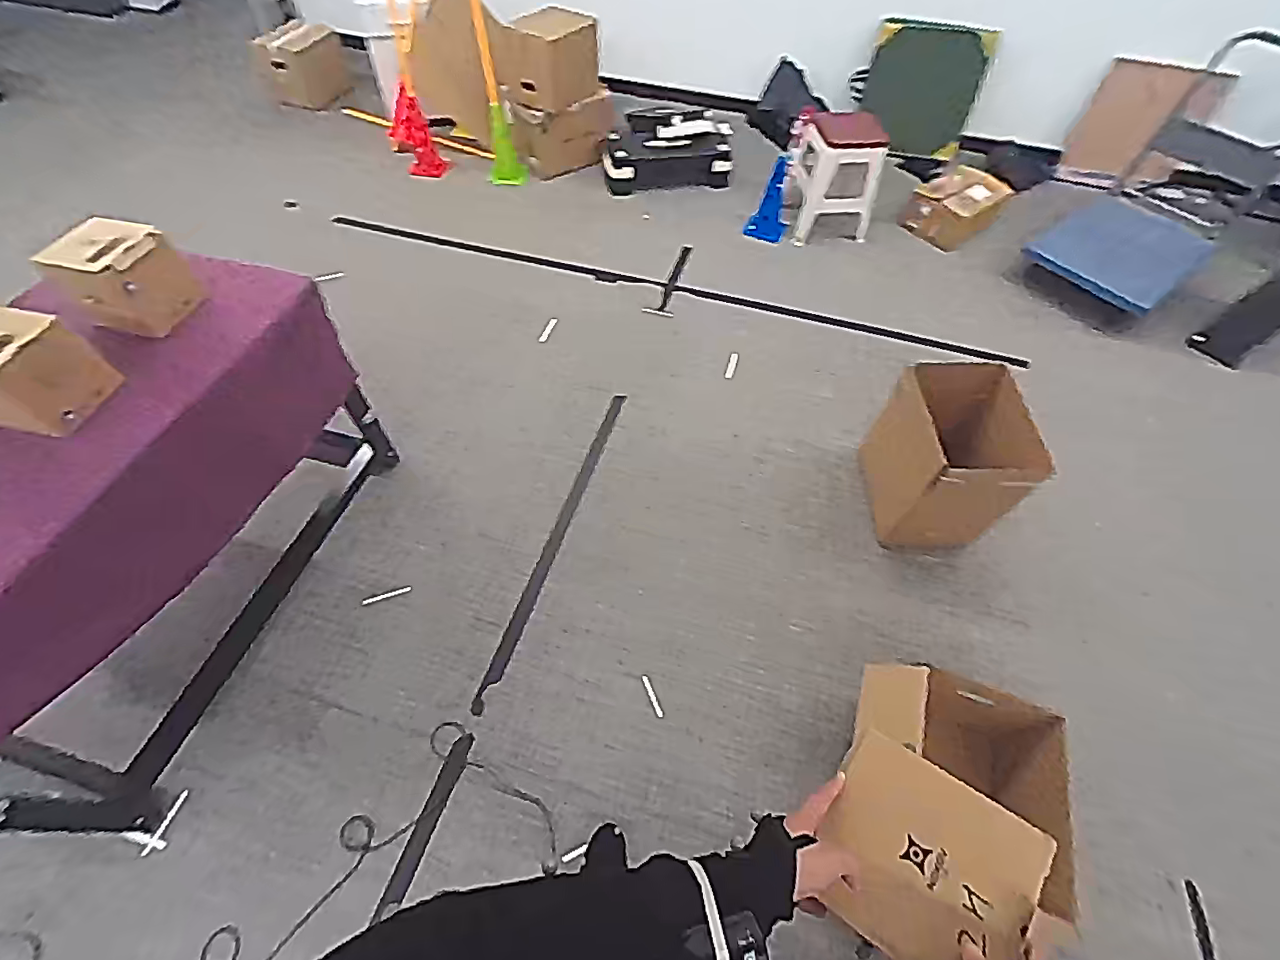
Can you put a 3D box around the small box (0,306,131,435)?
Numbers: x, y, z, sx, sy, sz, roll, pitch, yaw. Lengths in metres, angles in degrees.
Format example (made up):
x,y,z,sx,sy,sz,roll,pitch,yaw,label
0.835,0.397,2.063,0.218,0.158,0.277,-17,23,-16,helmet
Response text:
x,y,z,sx,sy,sz,roll,pitch,yaw,label
-1.169,-0.207,1.048,0.179,0.176,0.168,10,56,6,small box

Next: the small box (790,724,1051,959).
x,y,z,sx,sy,sz,roll,pitch,yaw,label
0.269,0.391,0.557,0.179,0.176,0.168,27,65,27,small box
